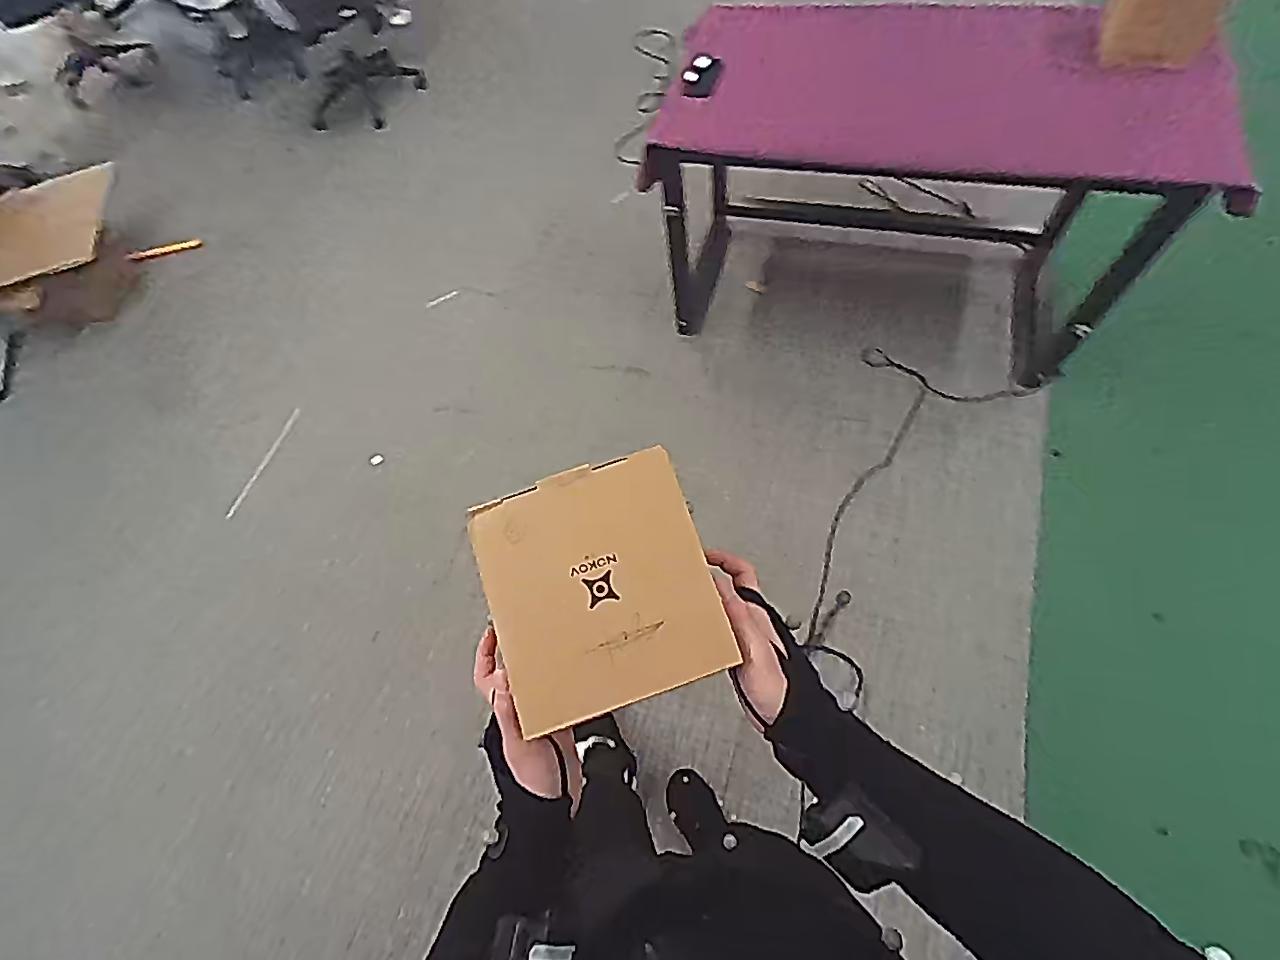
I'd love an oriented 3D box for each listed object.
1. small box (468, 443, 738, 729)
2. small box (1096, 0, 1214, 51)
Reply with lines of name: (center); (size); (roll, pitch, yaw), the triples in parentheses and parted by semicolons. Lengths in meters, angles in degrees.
small box: (-0.030, 0.091, 0.480); (0.168, 0.176, 0.179); (-18, 78, -2)
small box: (1.103, -1.049, 1.140); (0.168, 0.176, 0.179); (14, 68, 17)
